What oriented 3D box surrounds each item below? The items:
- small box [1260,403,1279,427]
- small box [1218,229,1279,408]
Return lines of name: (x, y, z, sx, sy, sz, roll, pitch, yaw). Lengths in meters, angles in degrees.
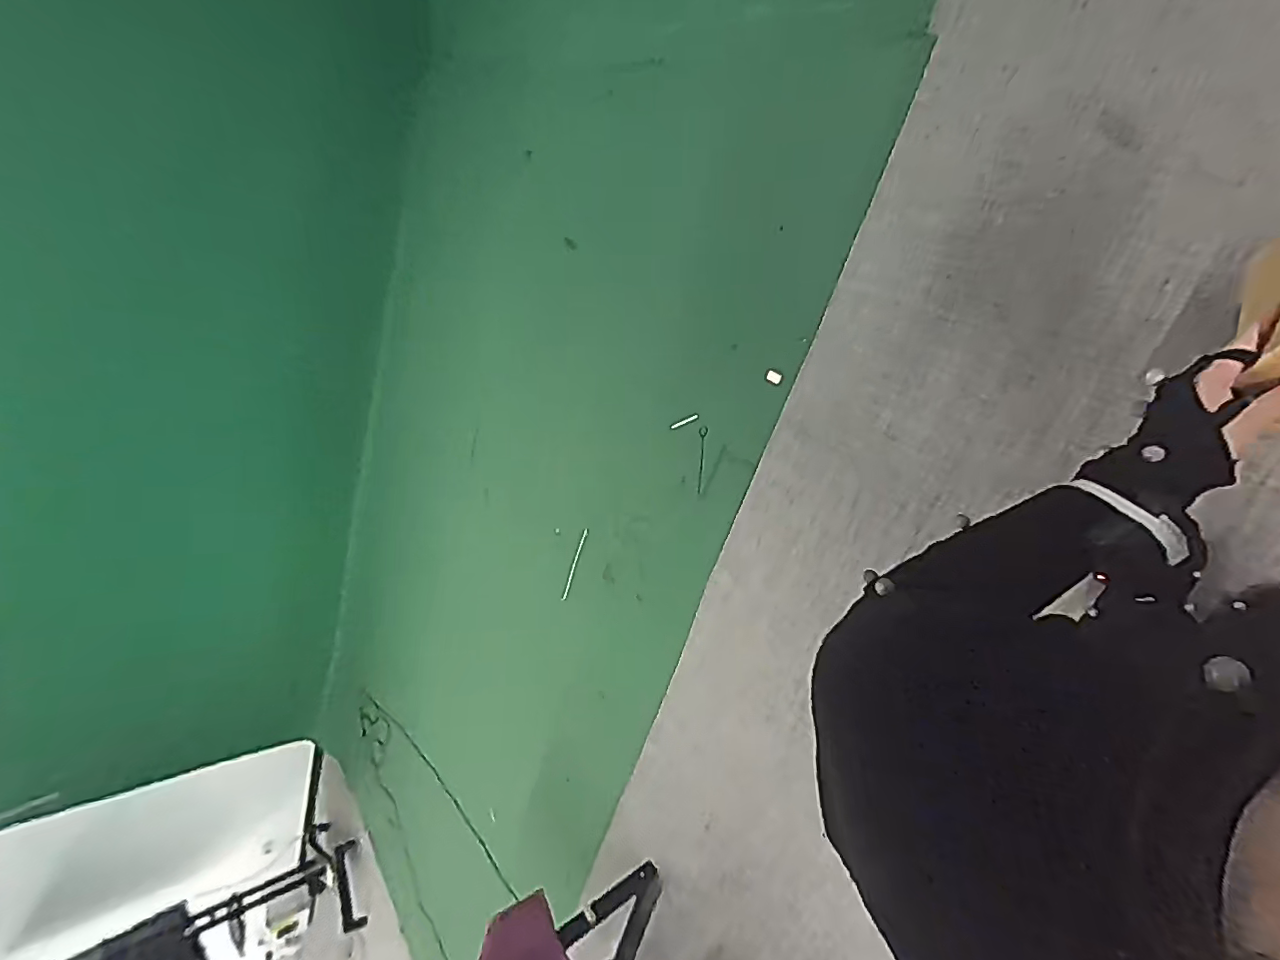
small box: (1.014, -0.127, 0.735, 0.179, 0.176, 0.168, 39, 117, 38)
small box: (0.564, -0.137, 0.364, 0.179, 0.176, 0.168, 28, 154, 17)
